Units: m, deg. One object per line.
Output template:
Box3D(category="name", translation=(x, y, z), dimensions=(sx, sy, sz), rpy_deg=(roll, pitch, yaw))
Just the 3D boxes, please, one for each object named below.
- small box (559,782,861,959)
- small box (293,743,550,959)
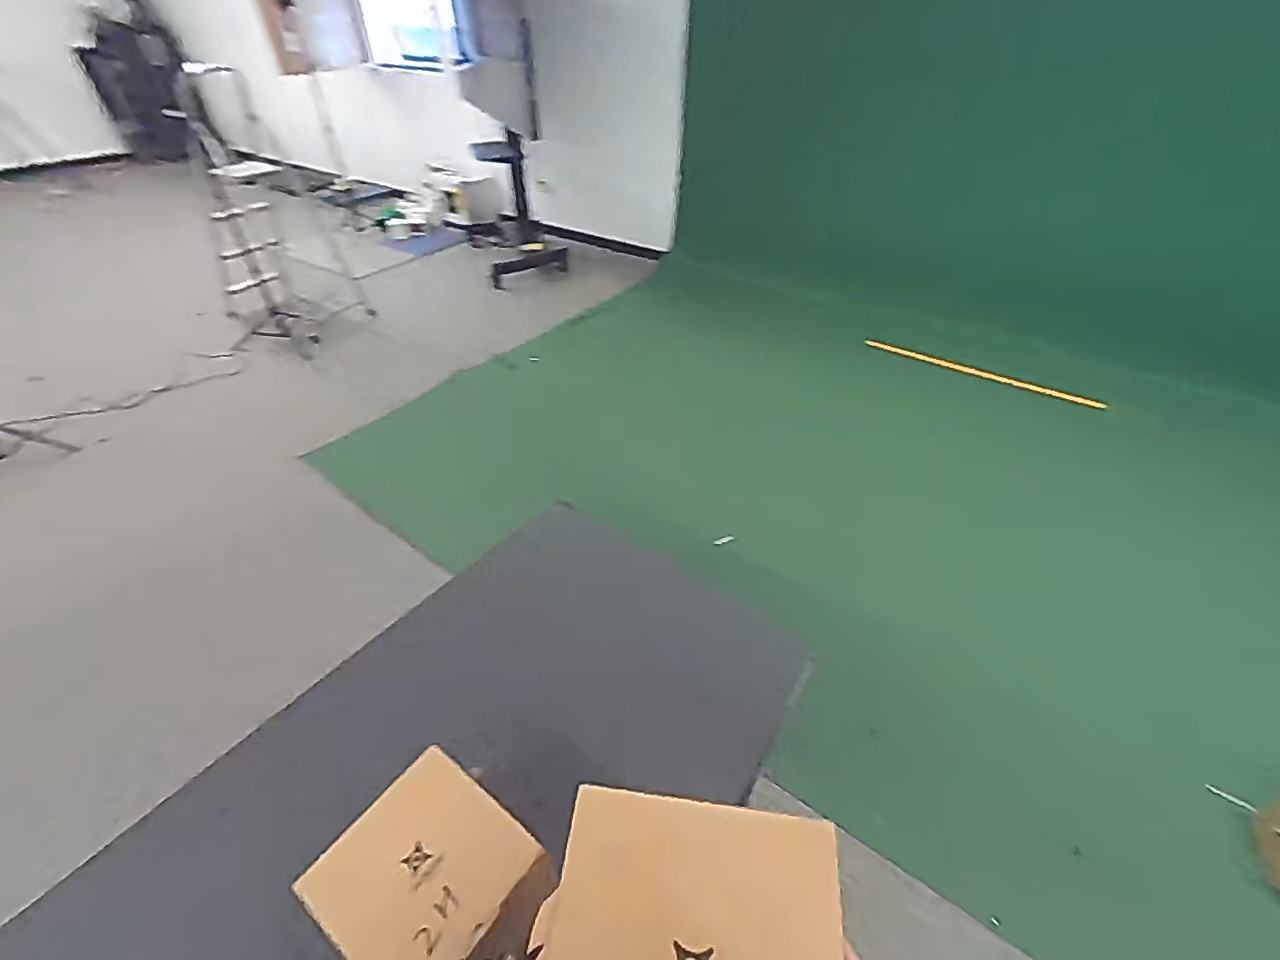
Box3D(category="small box", translation=(0.040, 0.323, 0.348), dimensions=(0.168, 0.176, 0.179), rpy_deg=(4, 49, 10))
Box3D(category="small box", translation=(-0.217, 0.431, 0.575), dimensions=(0.179, 0.176, 0.168), rpy_deg=(26, 47, 26))
